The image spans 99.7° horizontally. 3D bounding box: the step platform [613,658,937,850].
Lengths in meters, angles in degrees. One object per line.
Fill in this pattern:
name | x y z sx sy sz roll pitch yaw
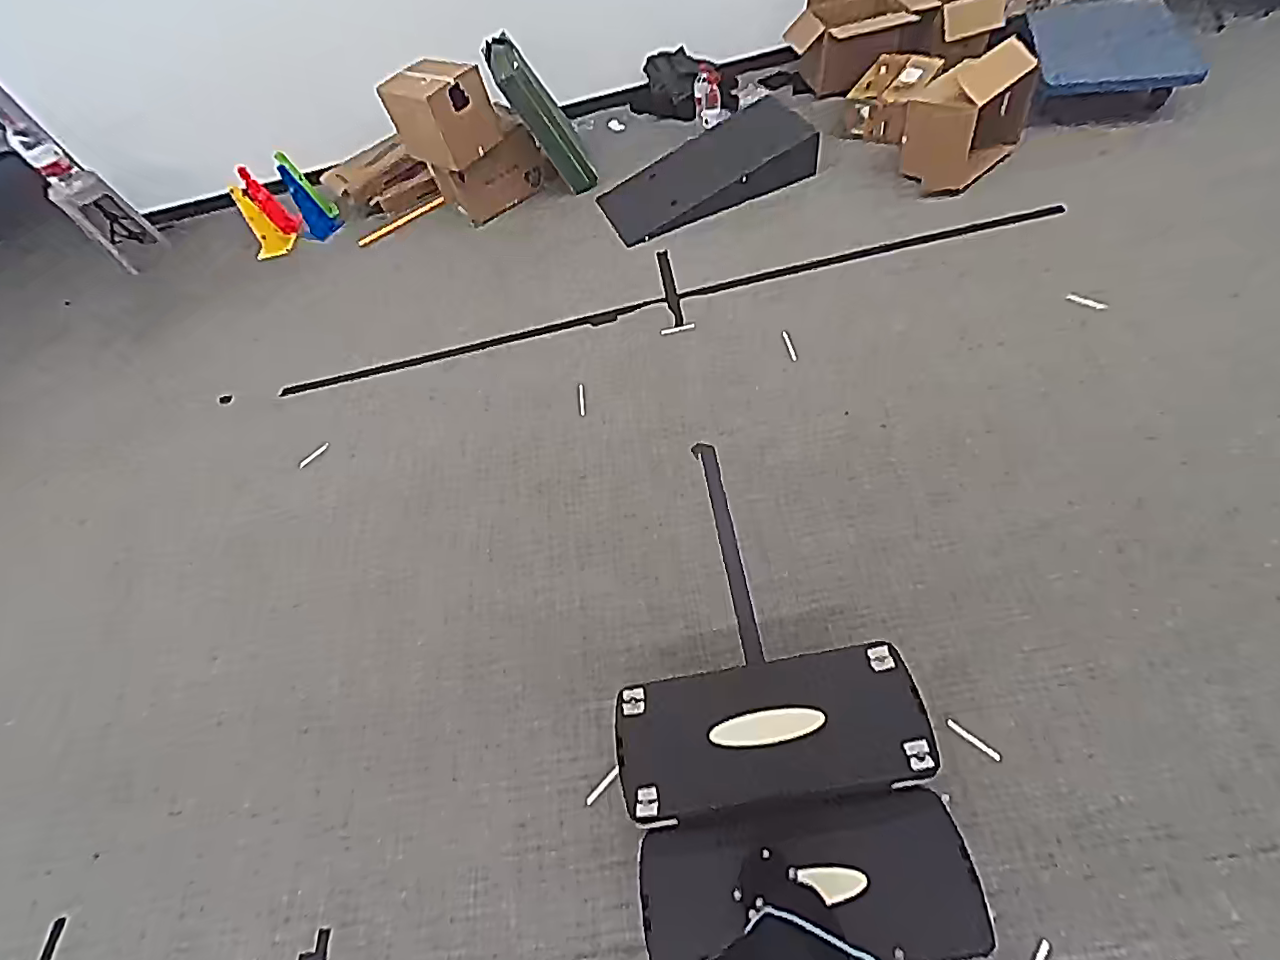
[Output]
step platform | 0.281 0.617 1.226 0.684 0.204 0.286 -12 56 3
